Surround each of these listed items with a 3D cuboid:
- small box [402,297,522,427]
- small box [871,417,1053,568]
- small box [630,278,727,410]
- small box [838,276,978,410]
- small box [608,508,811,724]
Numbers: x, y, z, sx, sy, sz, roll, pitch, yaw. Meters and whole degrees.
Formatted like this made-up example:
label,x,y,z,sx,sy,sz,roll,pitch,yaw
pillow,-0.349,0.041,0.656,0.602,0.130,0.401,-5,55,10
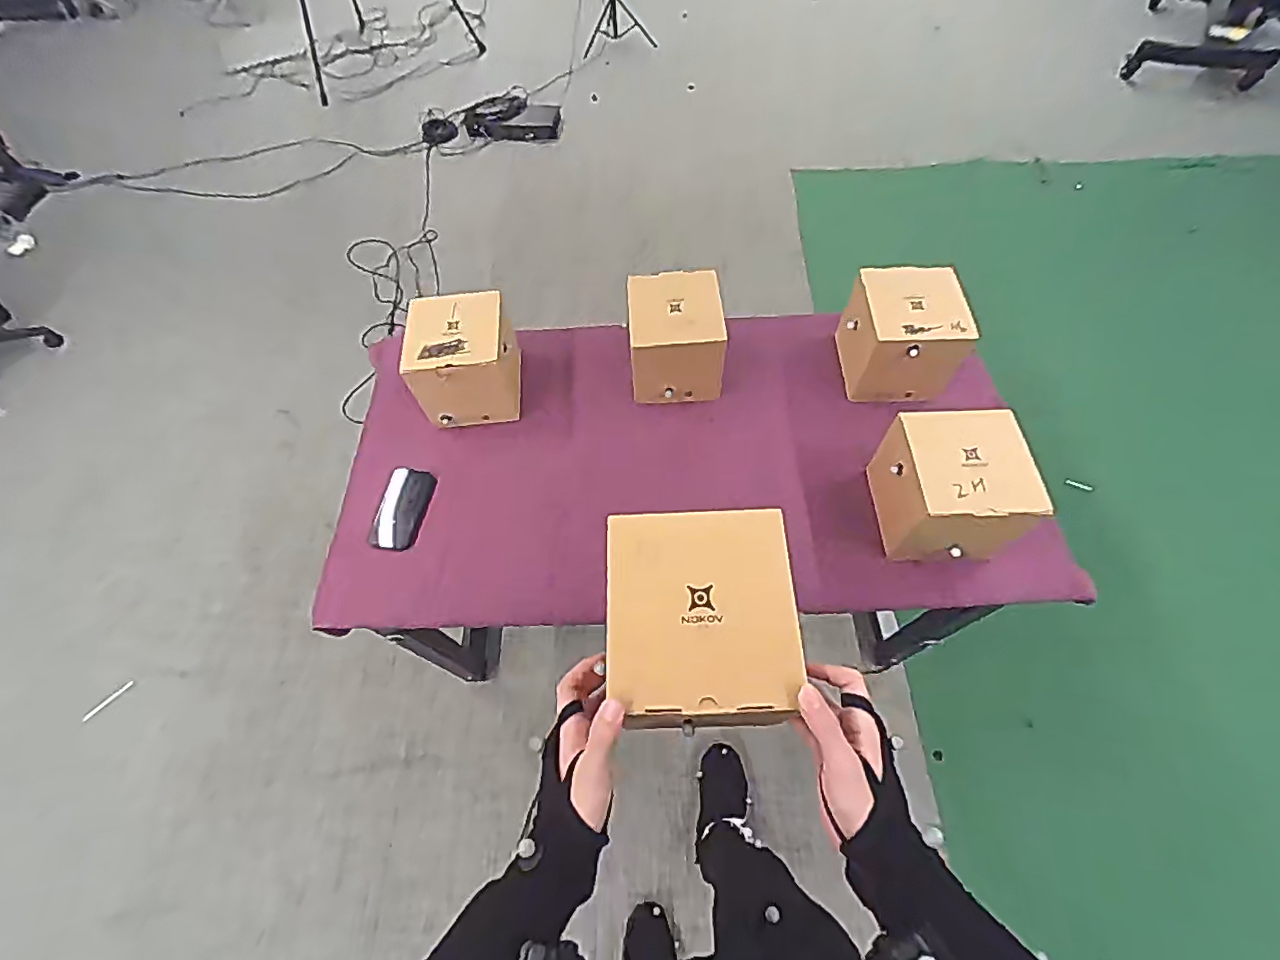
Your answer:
label,x,y,z,sx,sy,sz,roll,pitch,yaw
small box,-0.320,-0.212,1.009,0.168,0.176,0.179,-5,59,-1
small box,0.474,0.022,0.833,0.168,0.176,0.179,-1,59,4
small box,0.067,-0.252,1.018,0.168,0.176,0.179,-3,60,2
small box,0.477,-0.250,0.997,0.168,0.176,0.179,0,59,3
small box,0.056,0.142,0.540,0.168,0.176,0.179,-2,63,1
